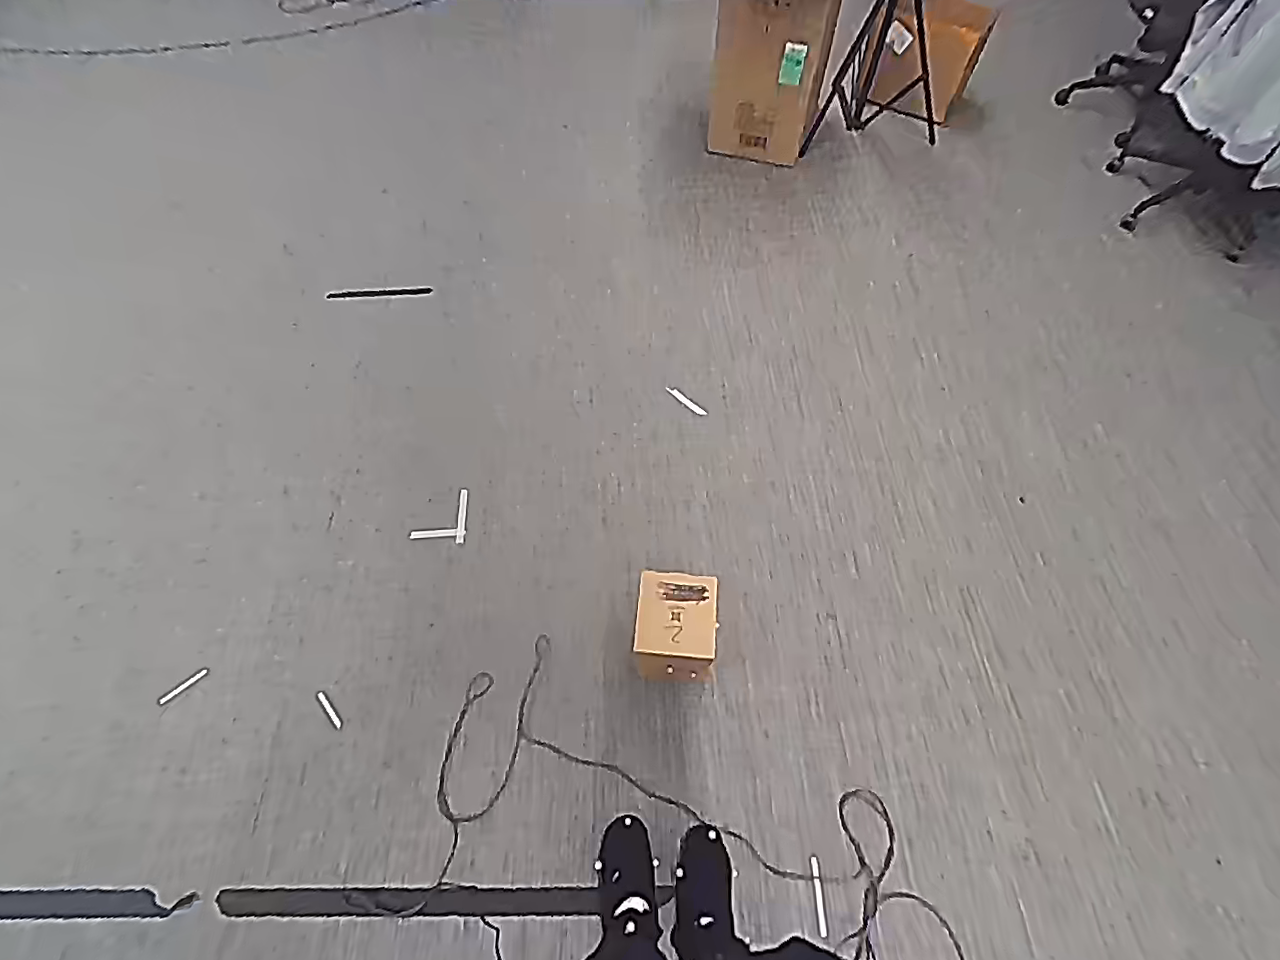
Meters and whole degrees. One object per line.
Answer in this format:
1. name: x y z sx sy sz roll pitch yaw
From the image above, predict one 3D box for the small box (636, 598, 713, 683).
1. small box: 0.087 0.400 1.335 0.179 0.176 0.168 3 61 3
